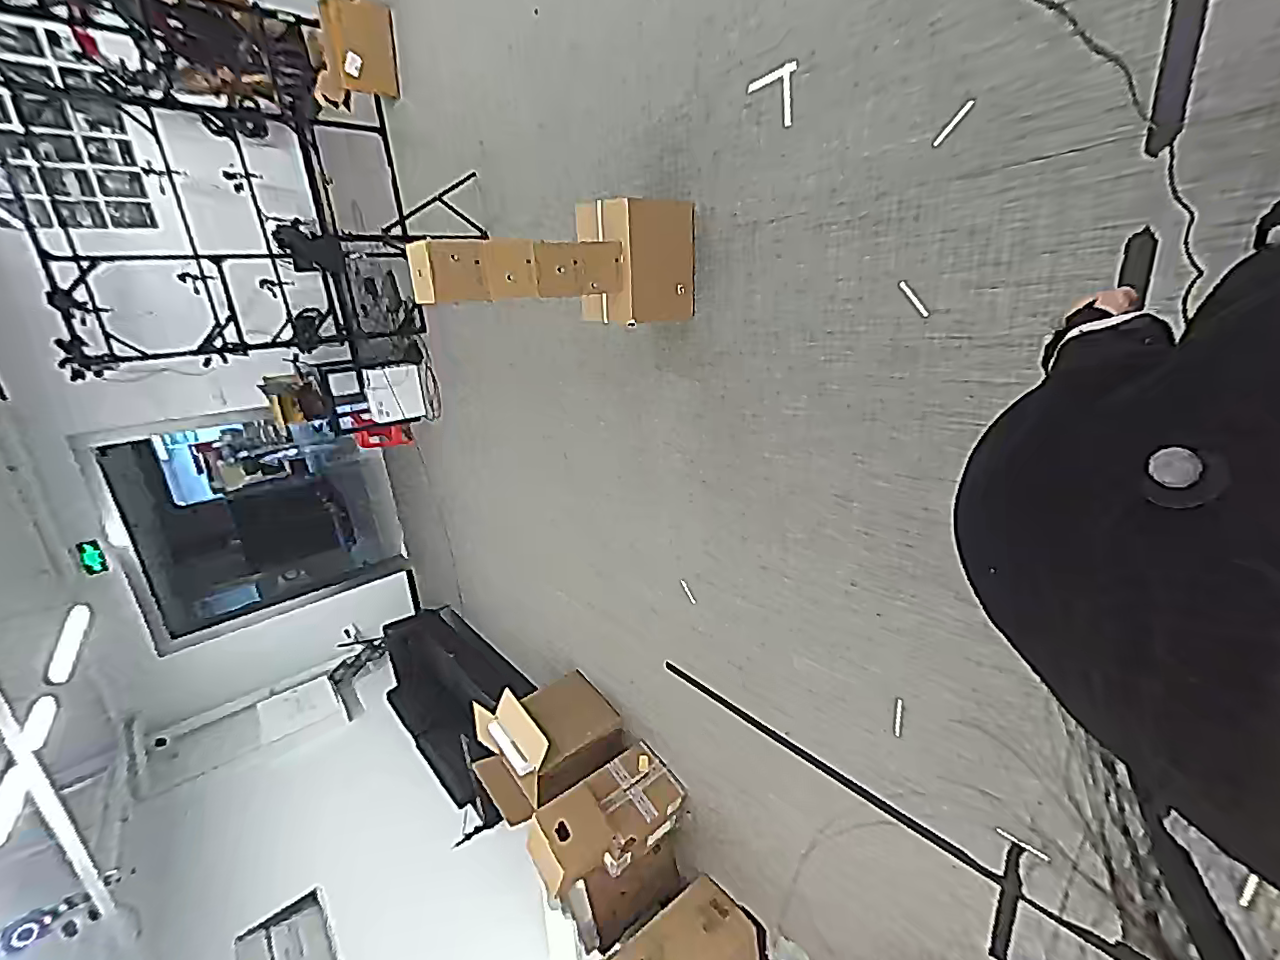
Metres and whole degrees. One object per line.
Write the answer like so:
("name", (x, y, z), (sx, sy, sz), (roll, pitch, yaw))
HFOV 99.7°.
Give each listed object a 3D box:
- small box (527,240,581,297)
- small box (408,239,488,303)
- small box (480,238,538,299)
("small box", (-0.305, -0.694, 1.774), (0.179, 0.176, 0.168), (22, 122, 46))
("small box", (-0.556, -0.611, 1.585), (0.179, 0.176, 0.168), (21, 120, 49))
("small box", (-0.428, -0.653, 1.676), (0.179, 0.176, 0.168), (20, 121, 48))
